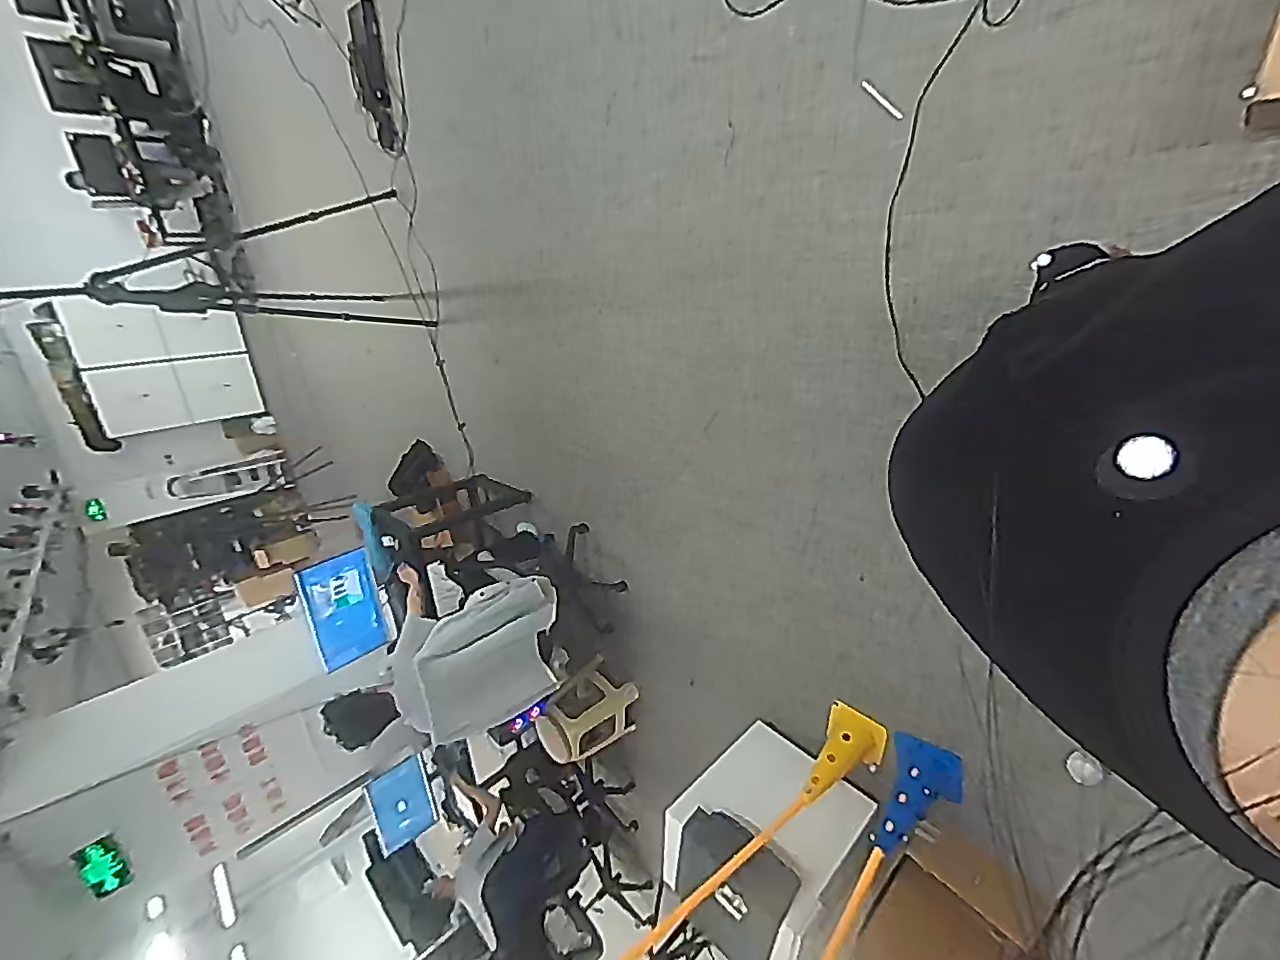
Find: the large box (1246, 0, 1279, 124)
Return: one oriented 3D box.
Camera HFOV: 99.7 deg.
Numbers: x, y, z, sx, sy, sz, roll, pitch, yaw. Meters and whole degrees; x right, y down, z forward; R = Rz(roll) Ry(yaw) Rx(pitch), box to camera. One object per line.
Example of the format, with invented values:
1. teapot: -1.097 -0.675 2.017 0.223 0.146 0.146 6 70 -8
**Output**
1. large box: 1.091 -0.672 0.664 0.408 0.320 0.320 19 120 43
